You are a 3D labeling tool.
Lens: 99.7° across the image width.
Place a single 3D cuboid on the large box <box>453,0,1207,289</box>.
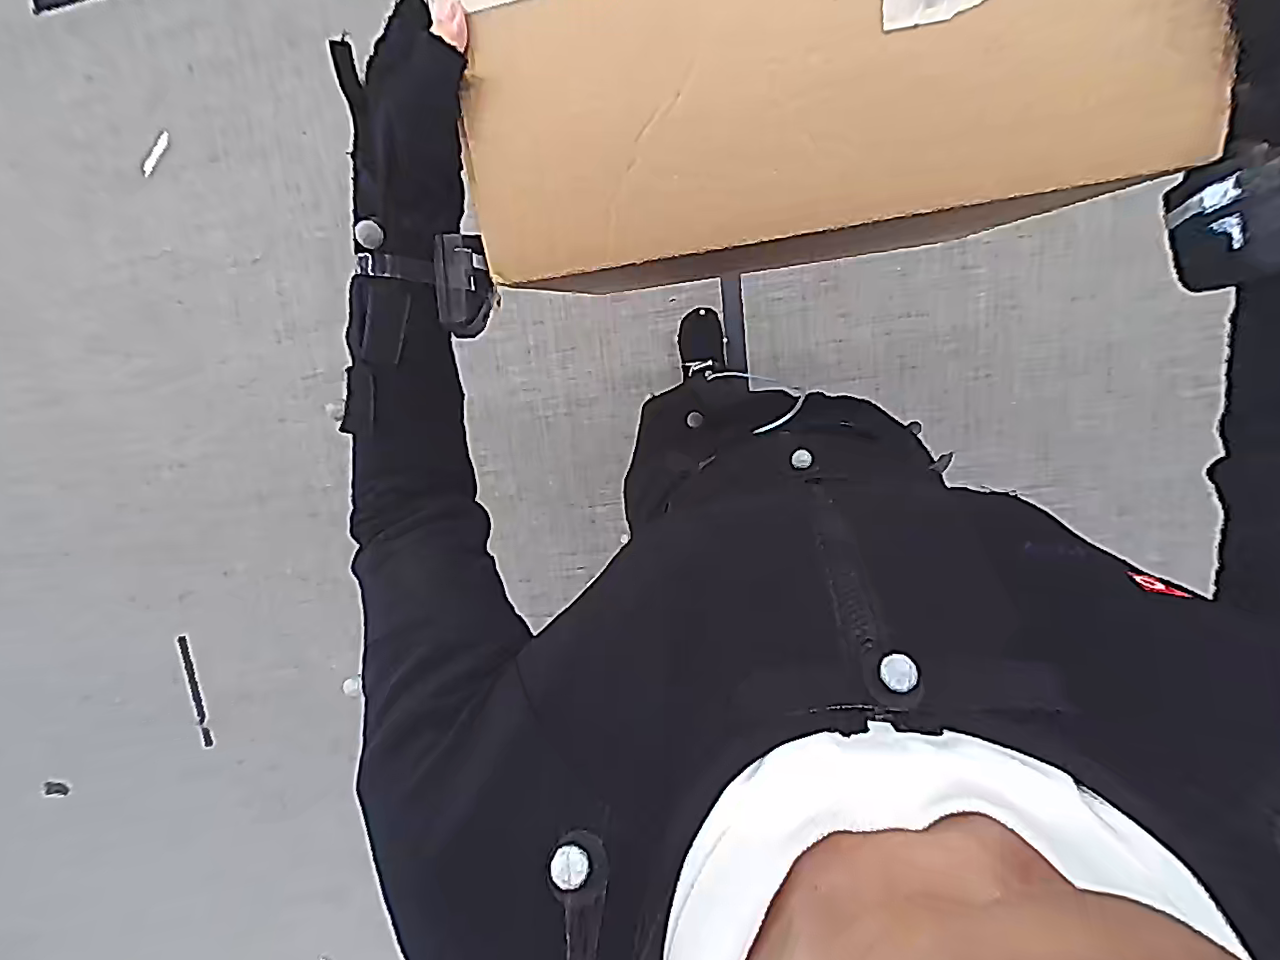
[{"bbox_3d":[0.100,-0.350,0.427,0.408,0.320,0.320,-6,107,10],"label":"large box"}]
